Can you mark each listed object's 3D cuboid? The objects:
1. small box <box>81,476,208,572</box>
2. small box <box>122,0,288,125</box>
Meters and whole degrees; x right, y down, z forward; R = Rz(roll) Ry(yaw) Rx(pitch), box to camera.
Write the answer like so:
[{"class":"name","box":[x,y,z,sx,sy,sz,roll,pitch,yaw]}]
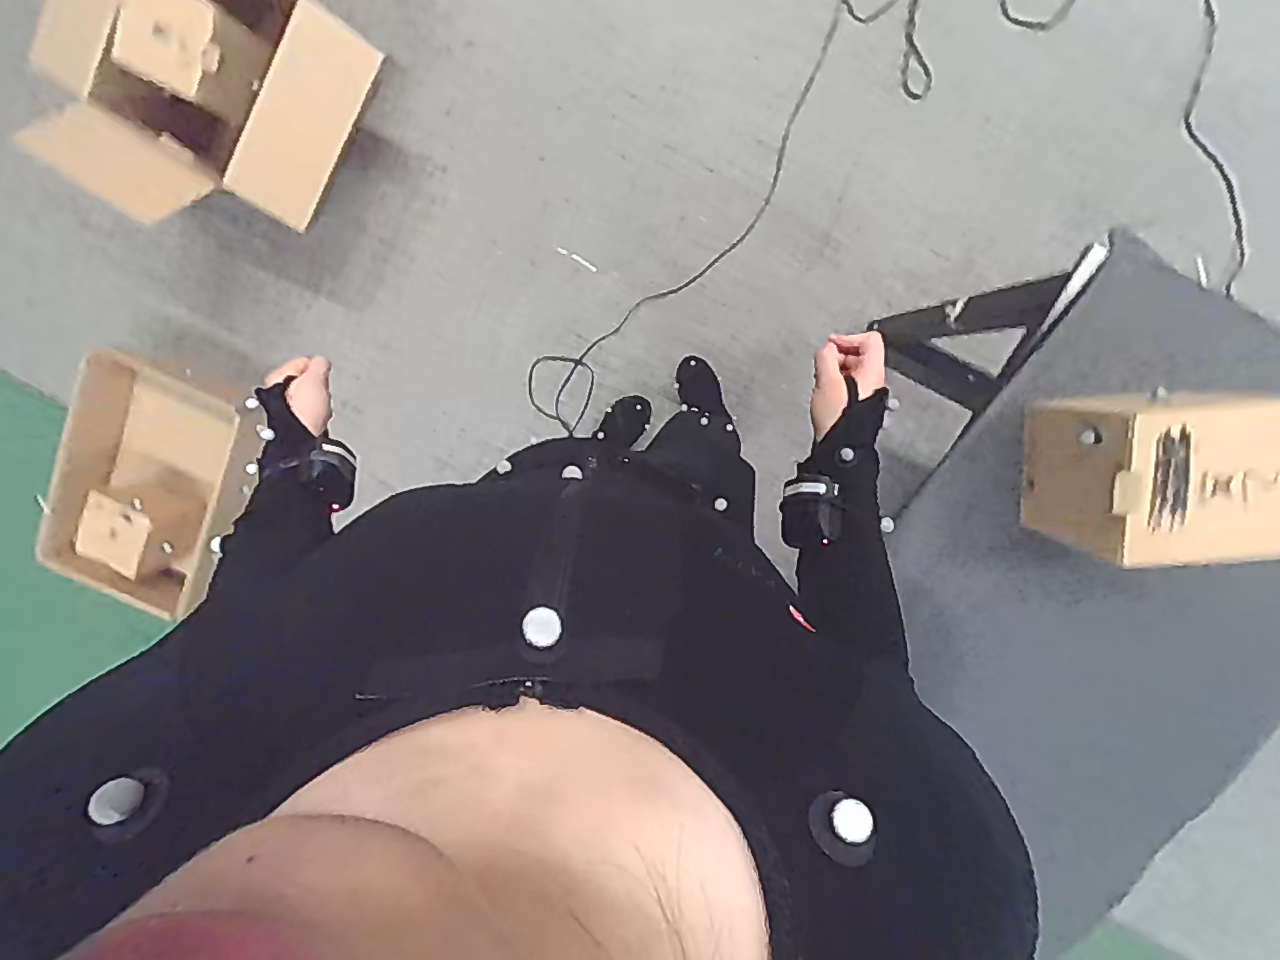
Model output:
[{"class":"small box","box":[-1.308,0.111,1.440,0.168,0.176,0.179,27,101,-1]},{"class":"small box","box":[-0.865,-0.858,1.088,0.179,0.176,0.168,26,104,-2]}]
